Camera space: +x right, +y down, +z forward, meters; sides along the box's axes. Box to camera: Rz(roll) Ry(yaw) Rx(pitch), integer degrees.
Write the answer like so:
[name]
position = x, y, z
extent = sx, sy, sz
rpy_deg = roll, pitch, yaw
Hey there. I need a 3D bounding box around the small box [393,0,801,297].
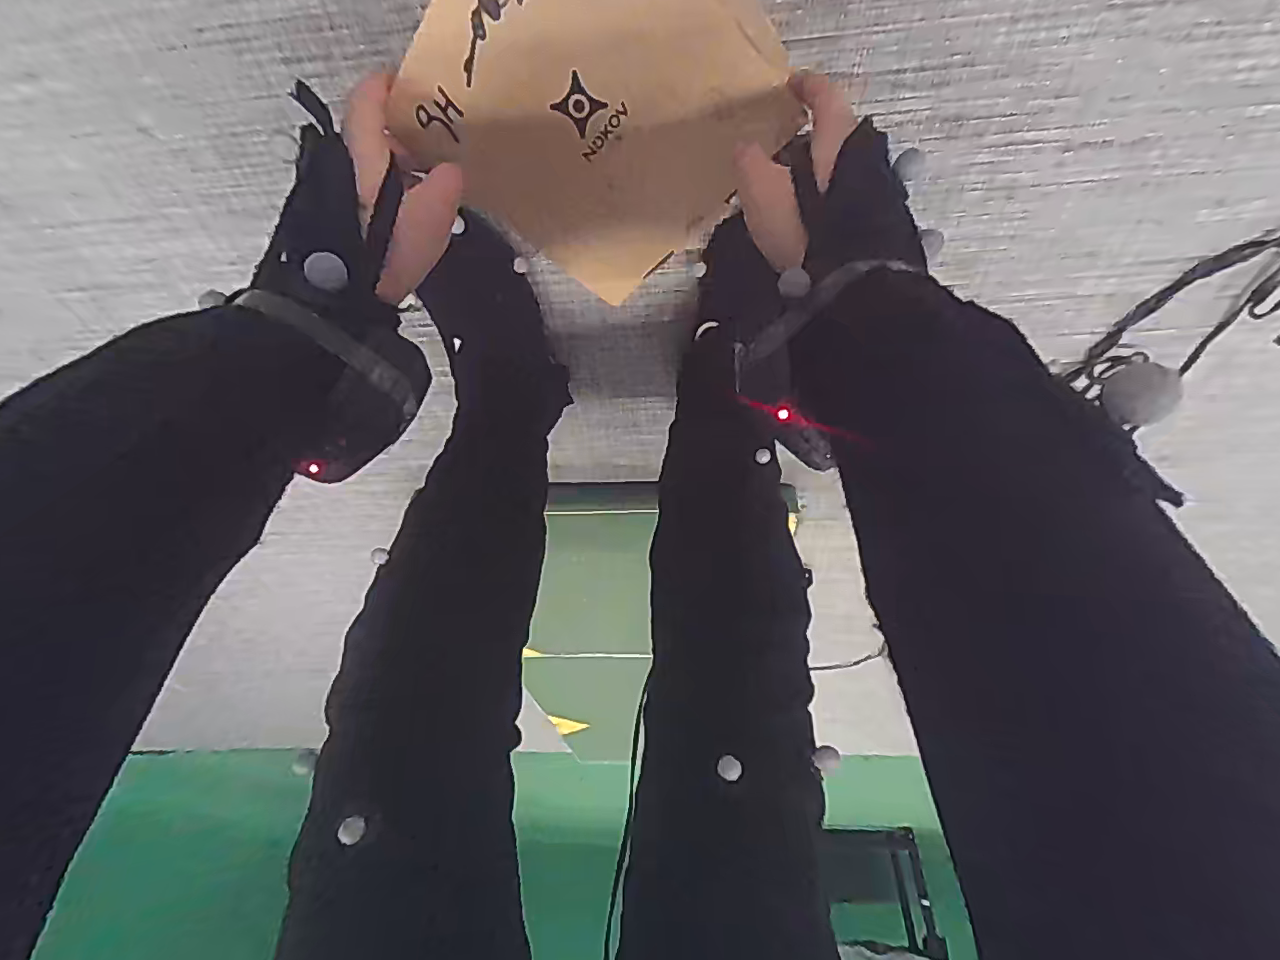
[small box]
position = -0.021, -0.268, 0.353
extent = 0.179, 0.176, 0.168
rpy_deg = 30, 134, -31
